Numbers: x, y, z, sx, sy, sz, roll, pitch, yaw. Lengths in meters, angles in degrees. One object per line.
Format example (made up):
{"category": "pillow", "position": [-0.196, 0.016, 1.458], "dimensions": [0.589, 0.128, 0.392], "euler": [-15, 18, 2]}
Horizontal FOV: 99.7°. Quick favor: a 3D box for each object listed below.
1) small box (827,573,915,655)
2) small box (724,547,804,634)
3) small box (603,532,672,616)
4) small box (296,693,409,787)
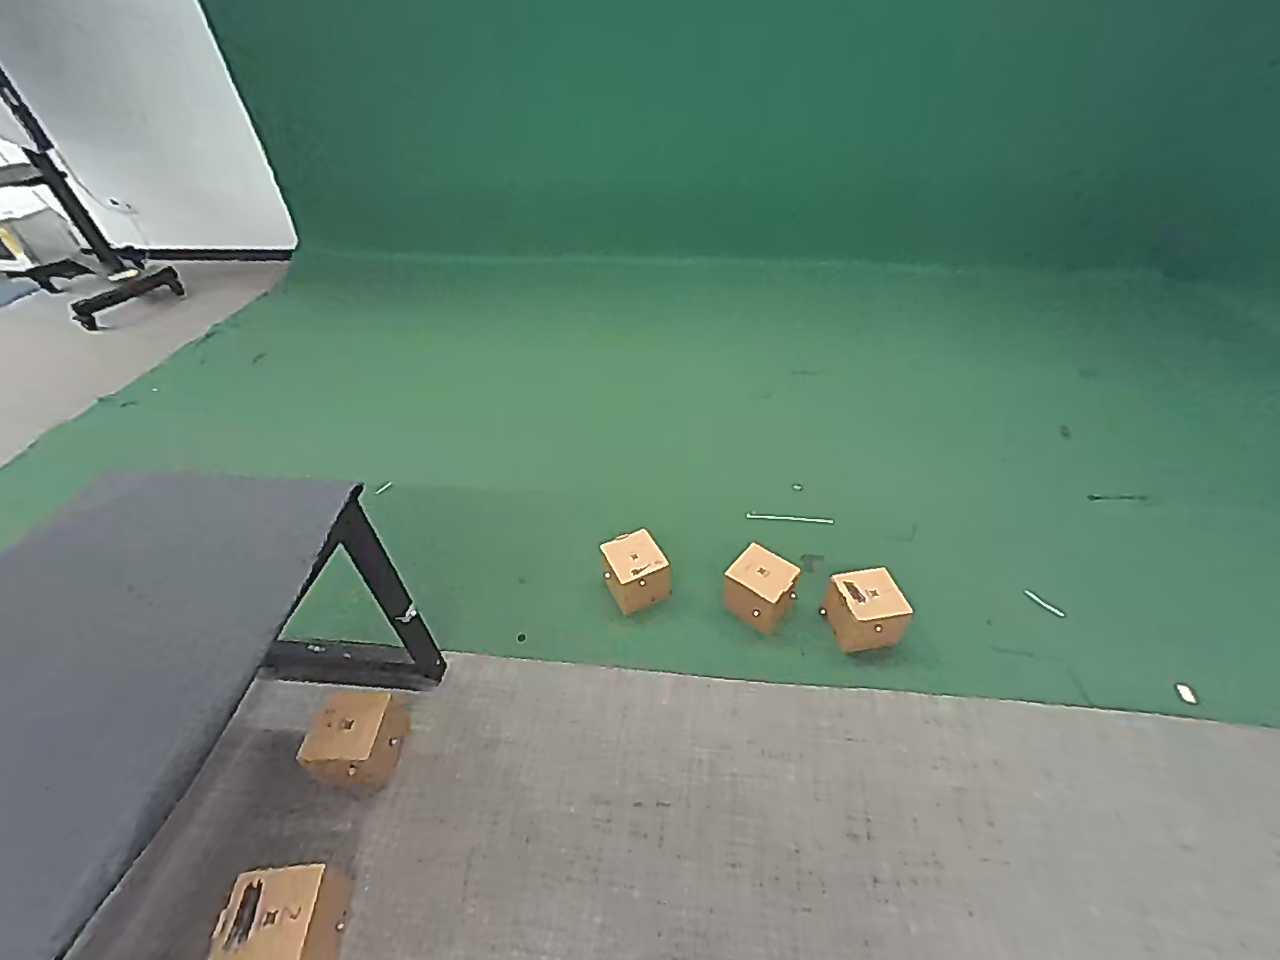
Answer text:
{"category": "small box", "position": [0.675, 0.402, 1.609], "dimensions": [0.179, 0.176, 0.168], "euler": [-7, 43, -7]}
{"category": "small box", "position": [0.379, 0.349, 1.678], "dimensions": [0.179, 0.176, 0.168], "euler": [29, 50, 30]}
{"category": "small box", "position": [-0.009, 0.303, 1.743], "dimensions": [0.168, 0.176, 0.179], "euler": [-19, 44, -18]}
{"category": "small box", "position": [-0.714, 0.660, 1.371], "dimensions": [0.179, 0.176, 0.168], "euler": [0, 42, 2]}
